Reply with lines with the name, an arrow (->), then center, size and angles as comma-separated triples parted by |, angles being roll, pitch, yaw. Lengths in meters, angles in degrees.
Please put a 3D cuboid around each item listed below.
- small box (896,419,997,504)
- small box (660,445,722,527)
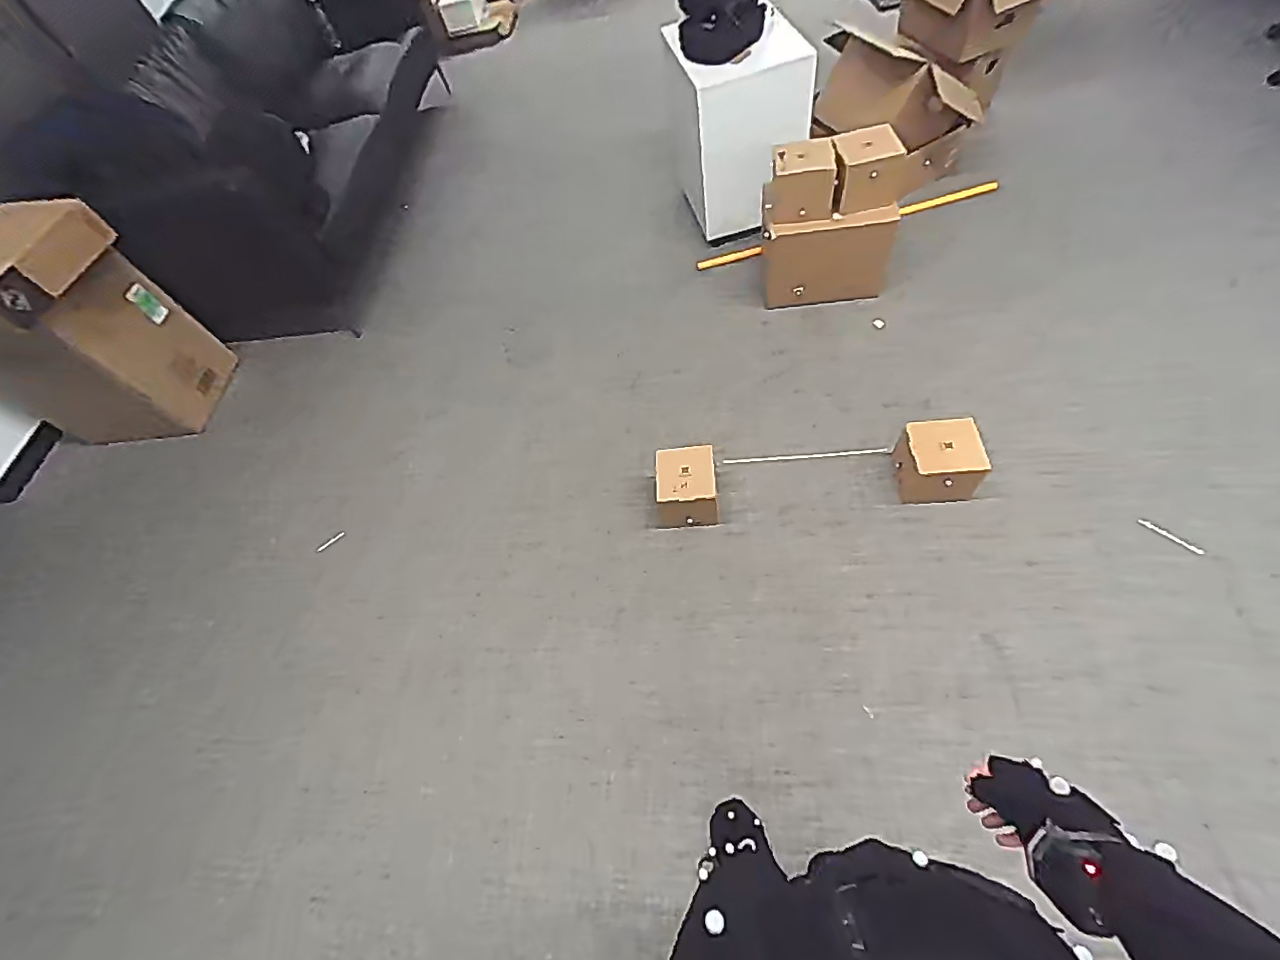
small box -> 0.824, -0.045, 1.472 | 0.179, 0.176, 0.168 | -5, 60, 9
small box -> 0.148, 0.021, 1.568 | 0.168, 0.176, 0.179 | -5, 59, 9
